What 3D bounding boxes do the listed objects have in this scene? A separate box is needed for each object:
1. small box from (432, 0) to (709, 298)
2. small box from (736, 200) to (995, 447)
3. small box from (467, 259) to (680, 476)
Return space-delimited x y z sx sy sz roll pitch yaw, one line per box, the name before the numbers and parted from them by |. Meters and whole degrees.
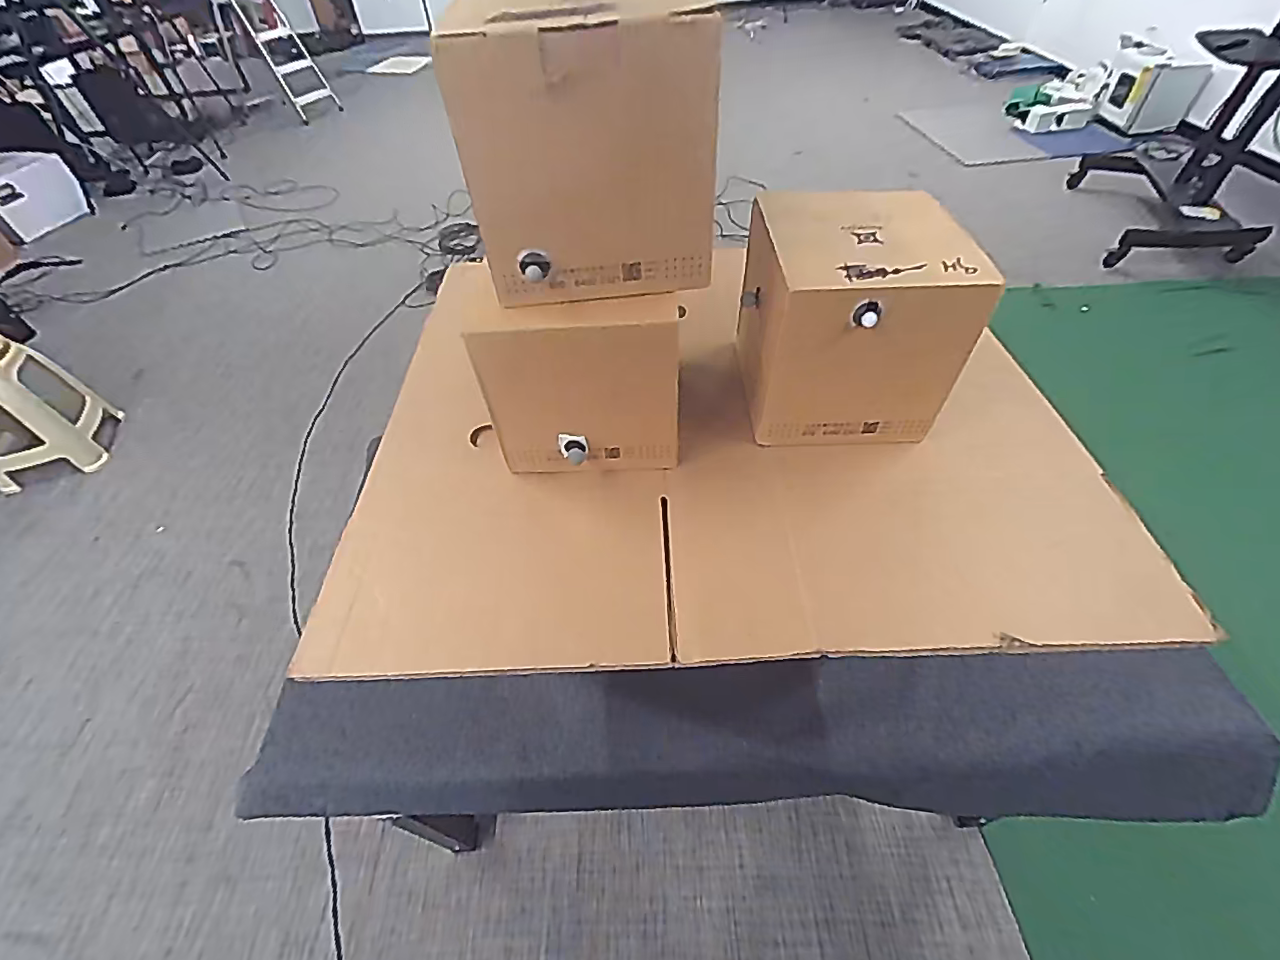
small box | -0.040 -0.256 0.422 0.168 0.176 0.179 -6 48 -1
small box | 0.190 -0.151 0.525 0.168 0.176 0.179 -1 48 1
small box | -0.049 -0.124 0.526 0.168 0.176 0.179 -4 51 2
